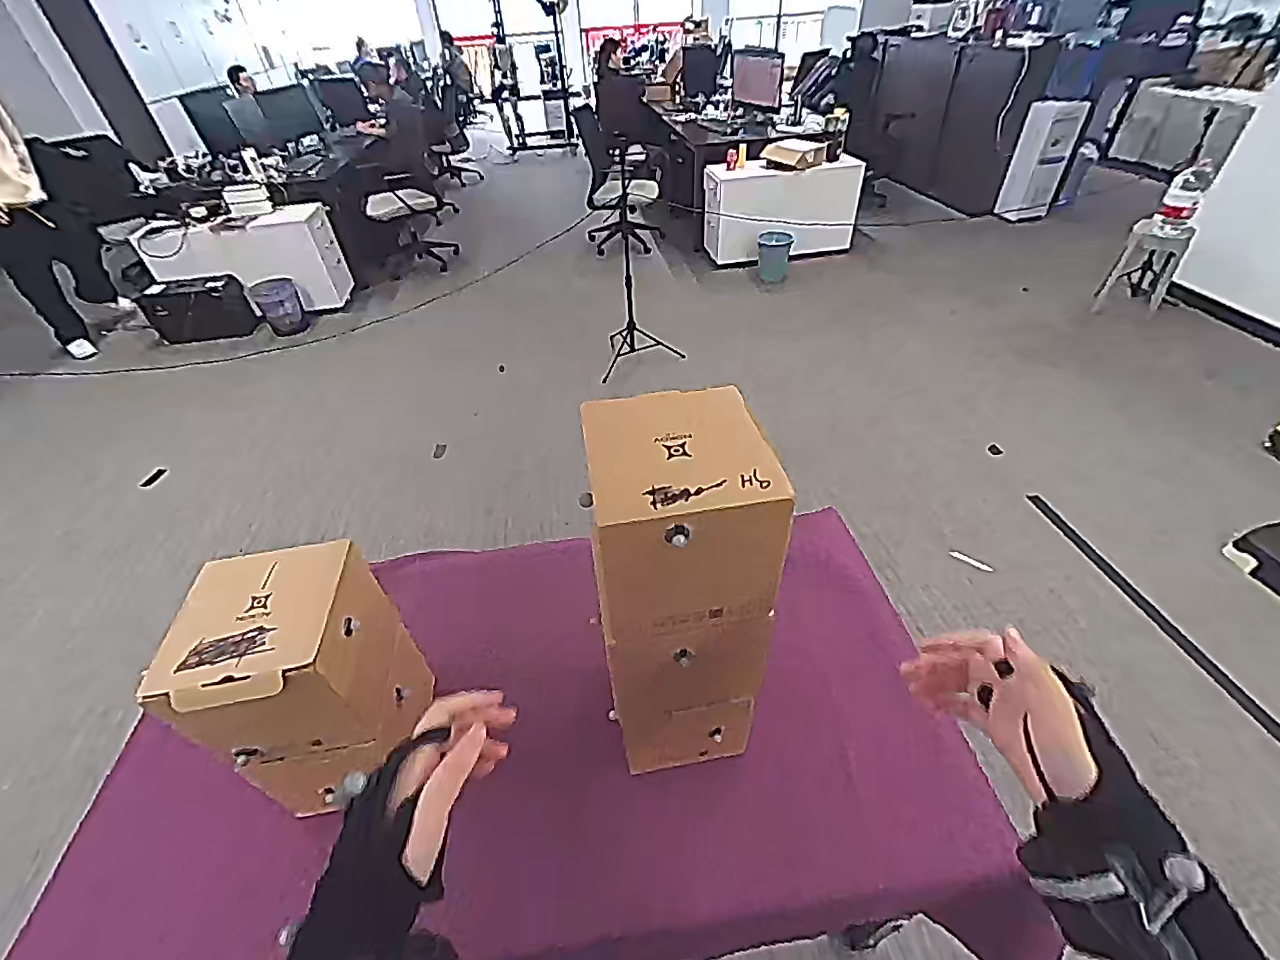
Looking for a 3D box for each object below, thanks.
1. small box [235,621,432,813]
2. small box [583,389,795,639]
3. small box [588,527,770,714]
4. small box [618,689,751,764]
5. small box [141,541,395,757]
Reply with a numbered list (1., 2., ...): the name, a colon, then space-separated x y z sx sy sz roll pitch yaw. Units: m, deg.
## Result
1. small box: -0.398 0.324 0.745 0.168 0.176 0.179 -8 43 -5
2. small box: 0.036 0.031 0.544 0.168 0.176 0.179 -8 42 -5
3. small box: 0.040 0.158 0.649 0.179 0.176 0.168 -8 43 -6
4. small box: 0.049 0.278 0.761 0.168 0.176 0.179 -8 42 -5
5. small box: -0.407 0.202 0.636 0.168 0.176 0.179 -9 42 -7
